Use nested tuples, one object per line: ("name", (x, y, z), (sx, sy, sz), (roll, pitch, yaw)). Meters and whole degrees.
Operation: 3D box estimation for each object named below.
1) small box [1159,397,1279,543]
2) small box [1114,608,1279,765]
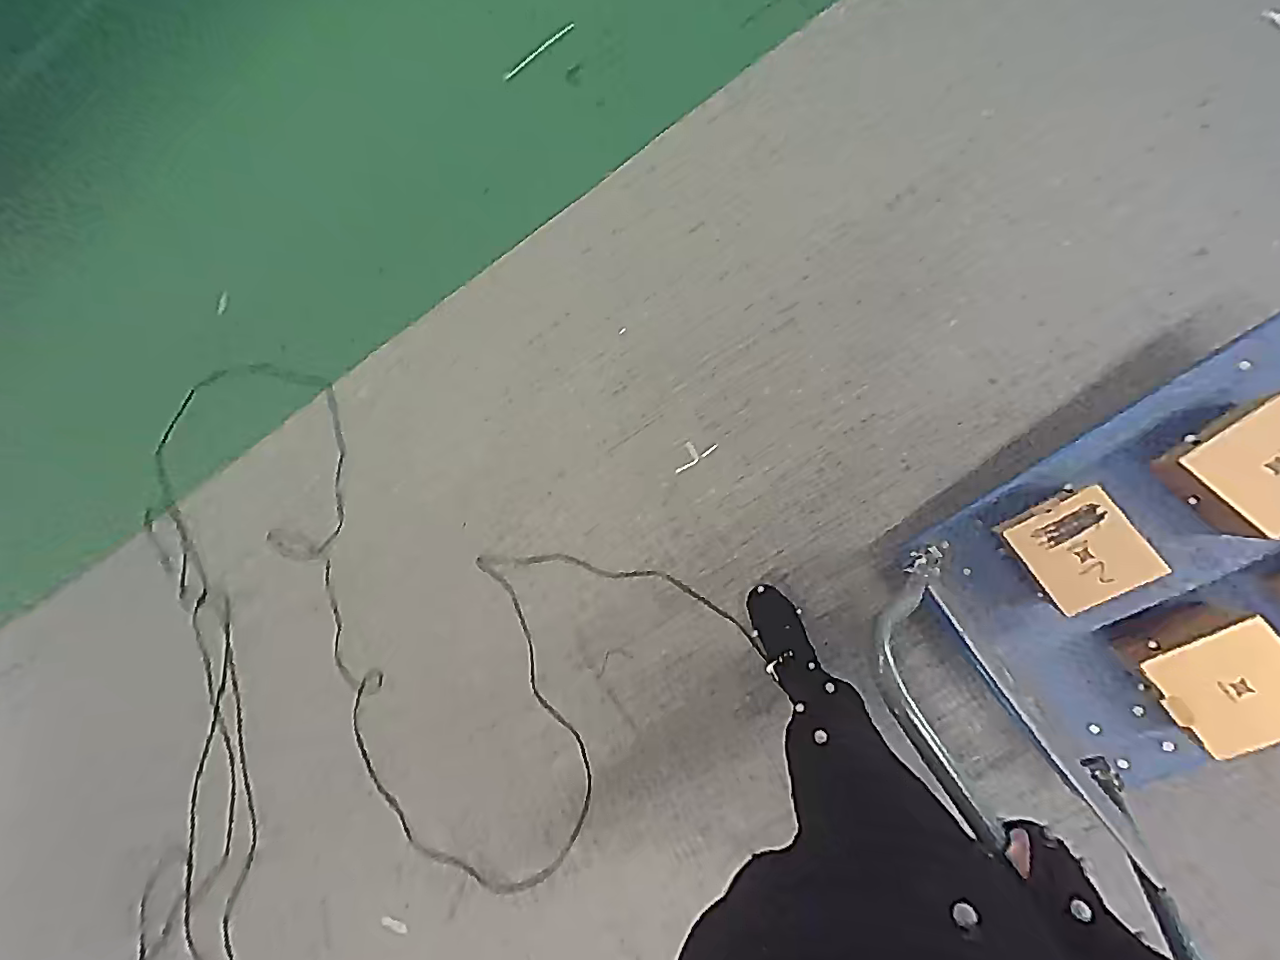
("small box", (1.009, -0.014, 0.880), (0.179, 0.176, 0.168), (-42, 70, 20))
("small box", (0.950, 0.330, 0.895), (0.179, 0.176, 0.168), (-37, 71, 23))
